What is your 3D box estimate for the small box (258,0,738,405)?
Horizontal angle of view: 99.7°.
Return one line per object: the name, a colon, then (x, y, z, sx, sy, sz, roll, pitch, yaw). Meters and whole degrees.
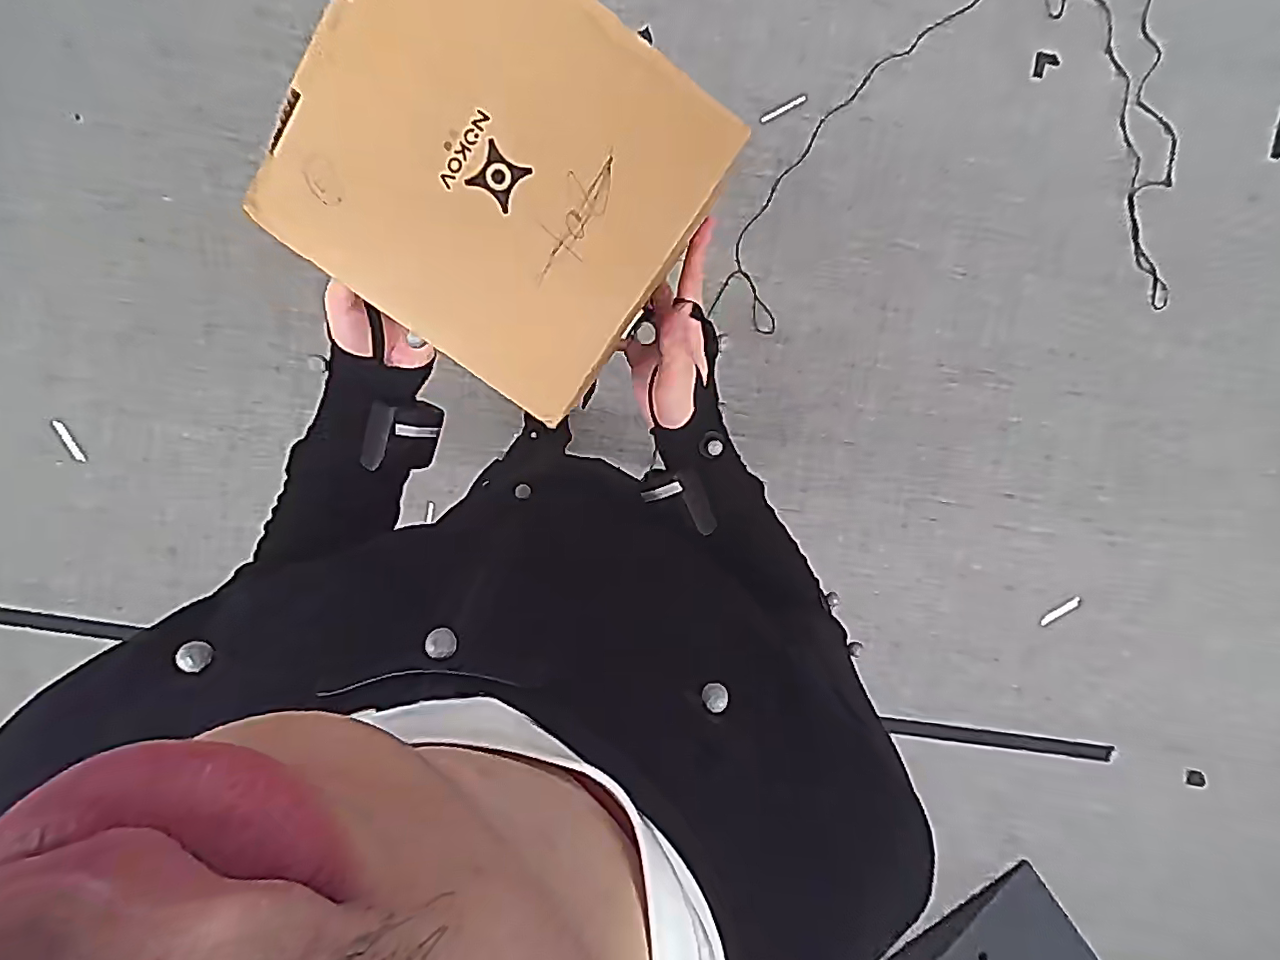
small box: (-0.071, -0.168, 0.336, 0.179, 0.176, 0.168, 34, 101, -10)
